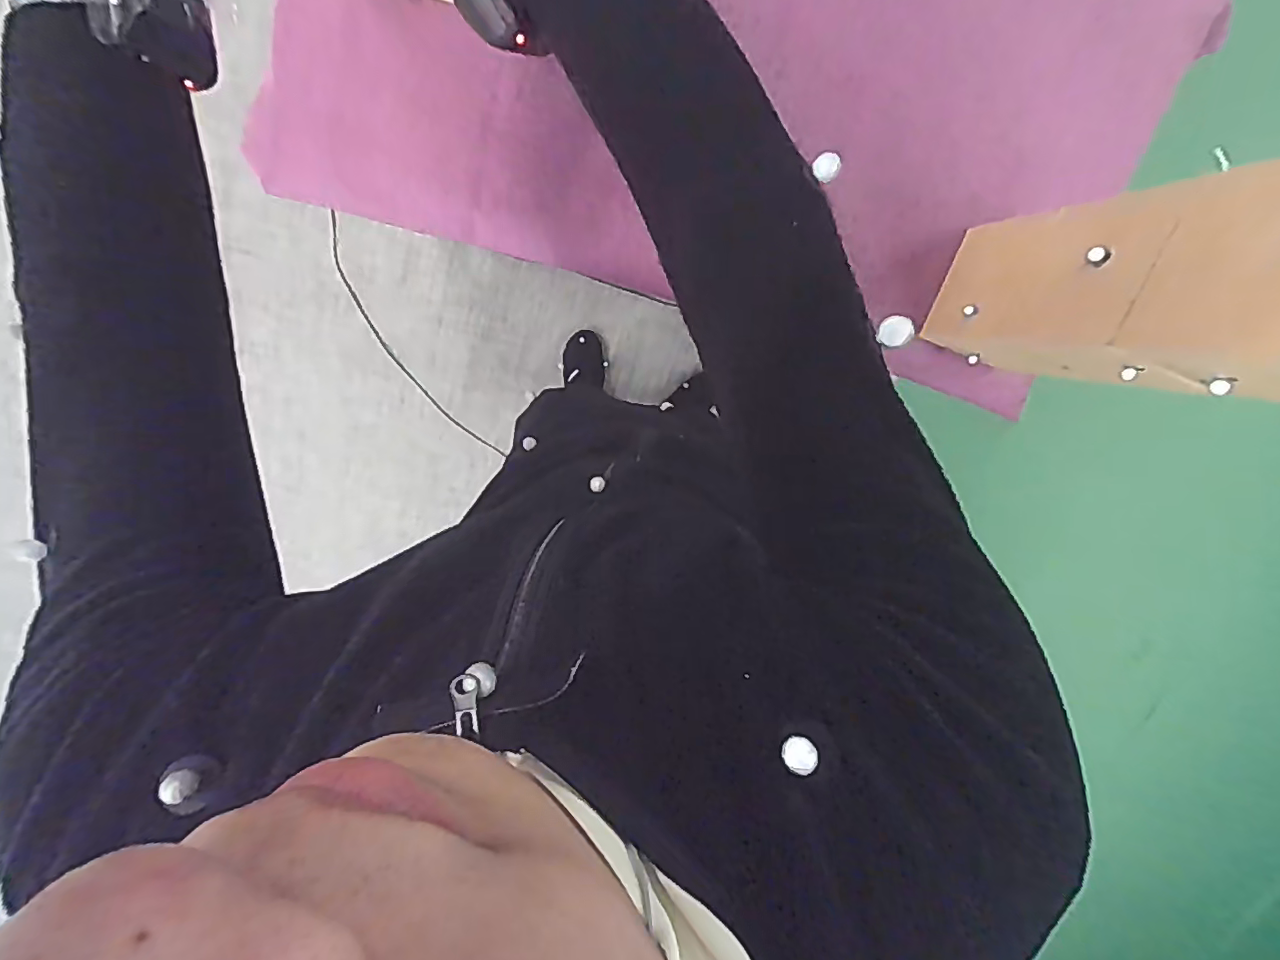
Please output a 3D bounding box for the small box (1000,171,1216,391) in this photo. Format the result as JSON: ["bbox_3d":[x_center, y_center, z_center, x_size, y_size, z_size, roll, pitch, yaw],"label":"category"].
[{"bbox_3d":[0.580,-0.223,0.639,0.168,0.176,0.179,17,104,-11],"label":"small box"}]

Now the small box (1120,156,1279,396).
[{"bbox_3d":[0.599,-0.178,0.482,0.168,0.176,0.179,17,105,-11],"label":"small box"}]
